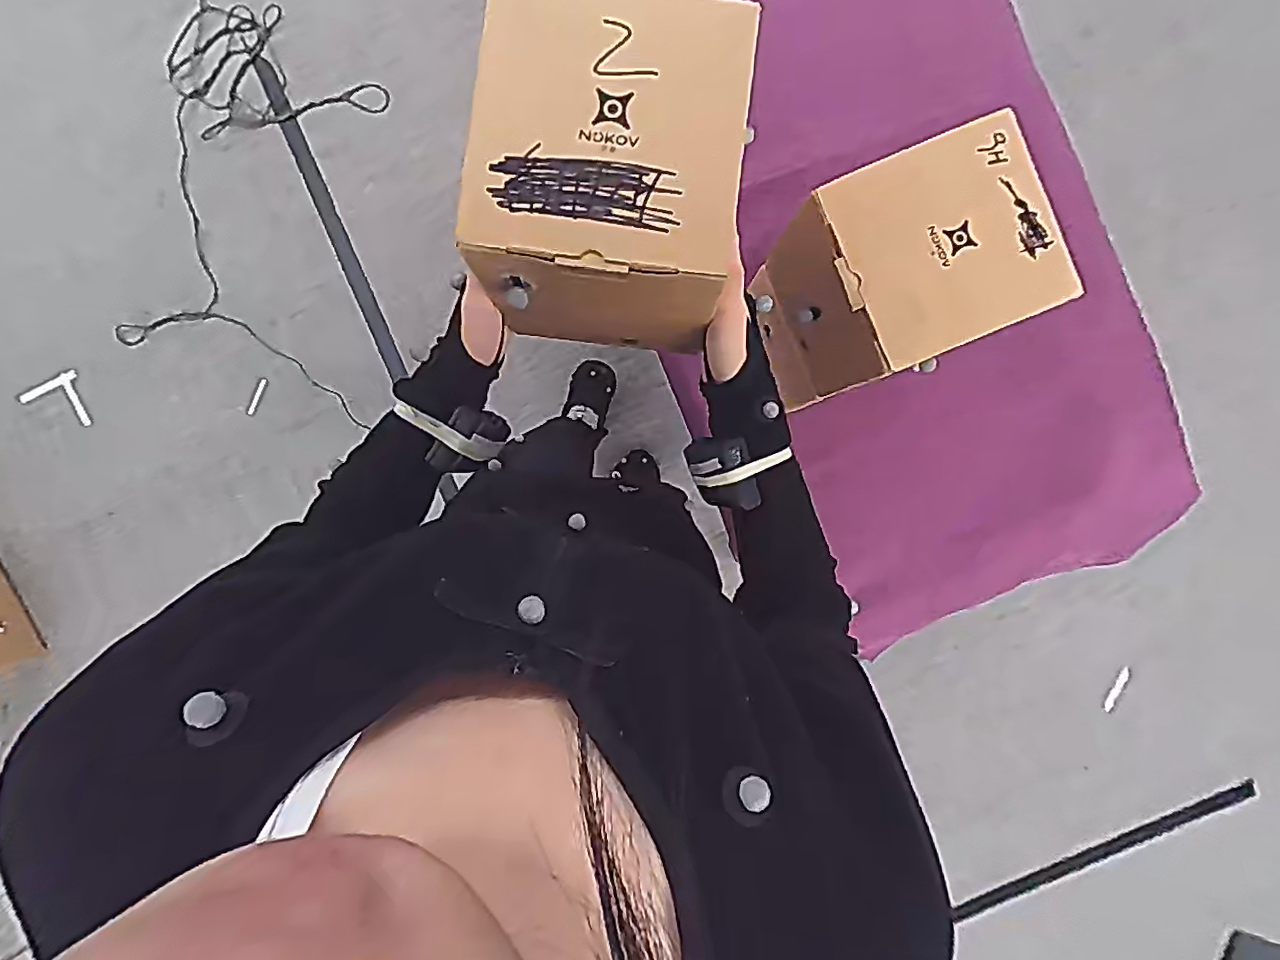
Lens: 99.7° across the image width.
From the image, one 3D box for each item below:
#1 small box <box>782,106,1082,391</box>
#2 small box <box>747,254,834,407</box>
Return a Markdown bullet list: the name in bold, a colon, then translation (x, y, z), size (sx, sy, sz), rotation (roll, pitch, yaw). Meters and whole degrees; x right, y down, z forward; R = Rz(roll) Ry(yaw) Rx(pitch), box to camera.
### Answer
- **small box**: translation (0.252, -0.198, 0.520), size (0.179, 0.176, 0.168), rotation (-23, 92, 1)
- **small box**: translation (0.247, -0.203, 0.684), size (0.179, 0.176, 0.168), rotation (-23, 92, 0)
